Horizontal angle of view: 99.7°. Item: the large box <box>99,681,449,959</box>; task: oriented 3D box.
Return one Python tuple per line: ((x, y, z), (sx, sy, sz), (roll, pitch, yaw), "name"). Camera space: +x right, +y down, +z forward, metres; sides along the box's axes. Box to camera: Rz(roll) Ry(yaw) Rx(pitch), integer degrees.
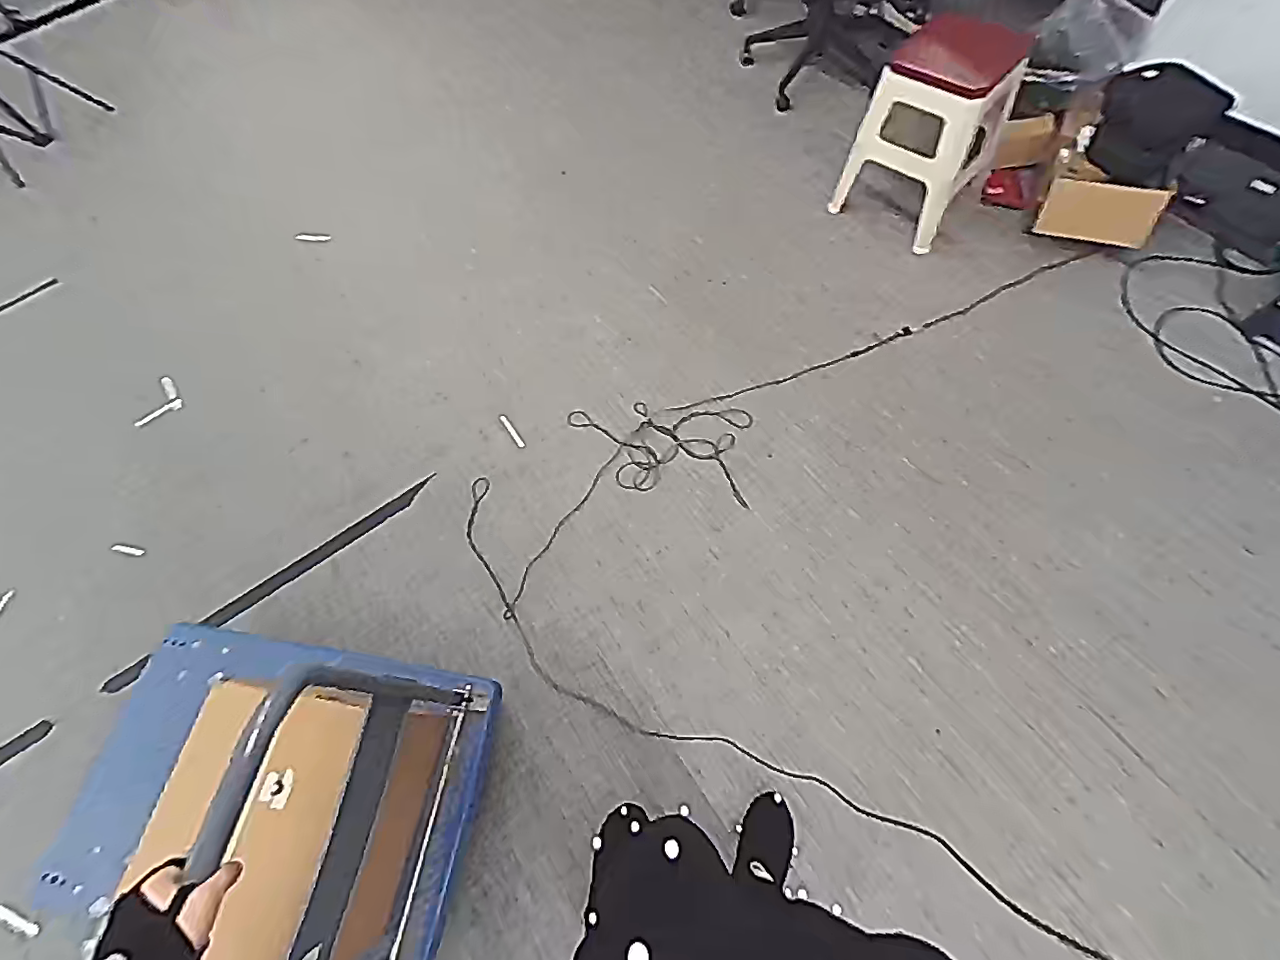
((-0.606, 0.615, 0.986), (0.320, 0.320, 0.408), (7, 65, 9), "large box")
